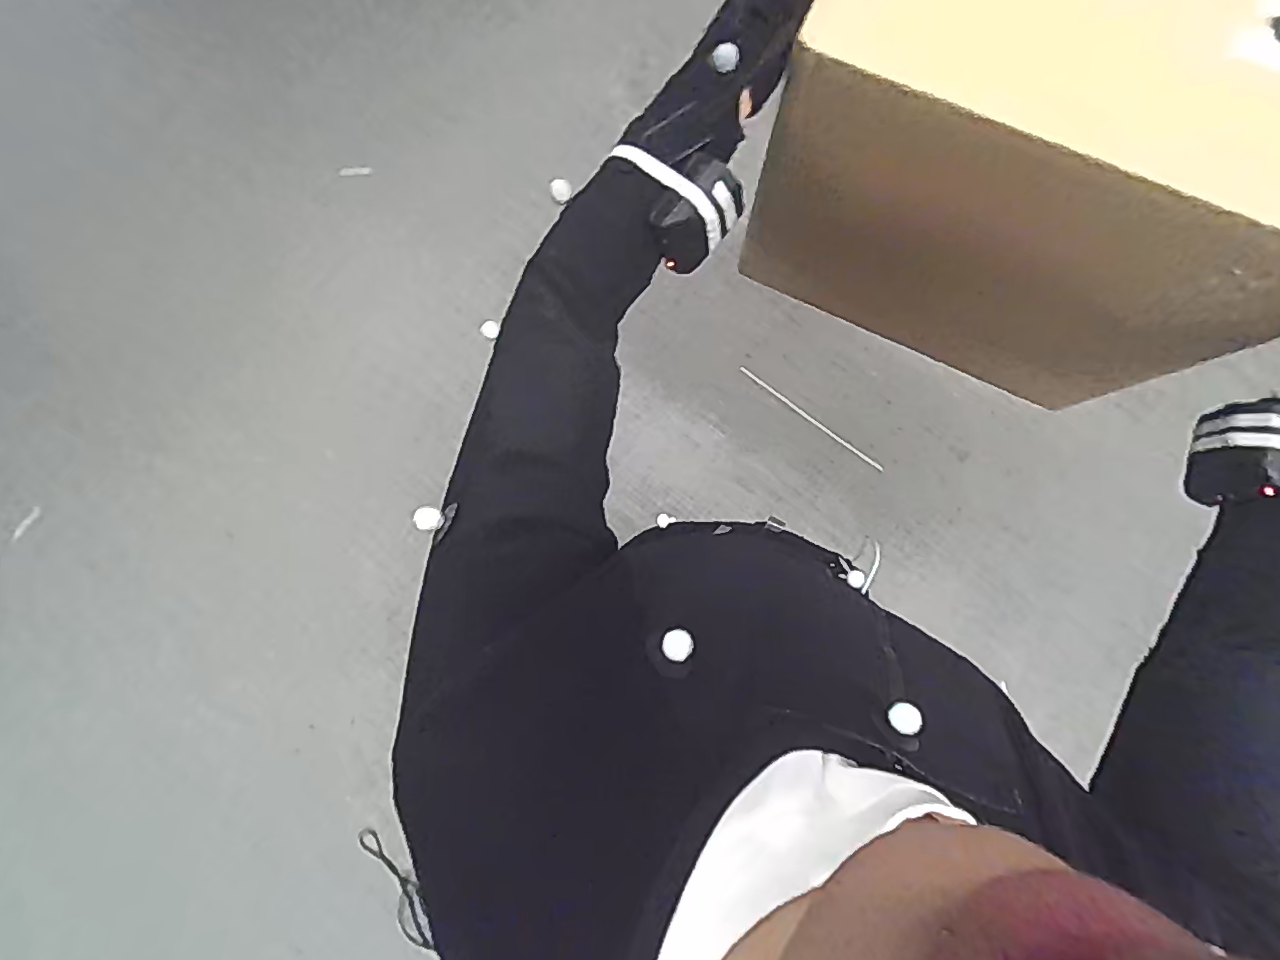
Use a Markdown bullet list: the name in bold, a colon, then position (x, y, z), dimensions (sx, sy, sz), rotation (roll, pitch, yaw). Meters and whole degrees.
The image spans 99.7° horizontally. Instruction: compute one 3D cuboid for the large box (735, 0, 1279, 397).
- **large box**: position (0.347, -0.325, 0.506), dimensions (0.408, 0.320, 0.320), rotation (25, 86, 4)
